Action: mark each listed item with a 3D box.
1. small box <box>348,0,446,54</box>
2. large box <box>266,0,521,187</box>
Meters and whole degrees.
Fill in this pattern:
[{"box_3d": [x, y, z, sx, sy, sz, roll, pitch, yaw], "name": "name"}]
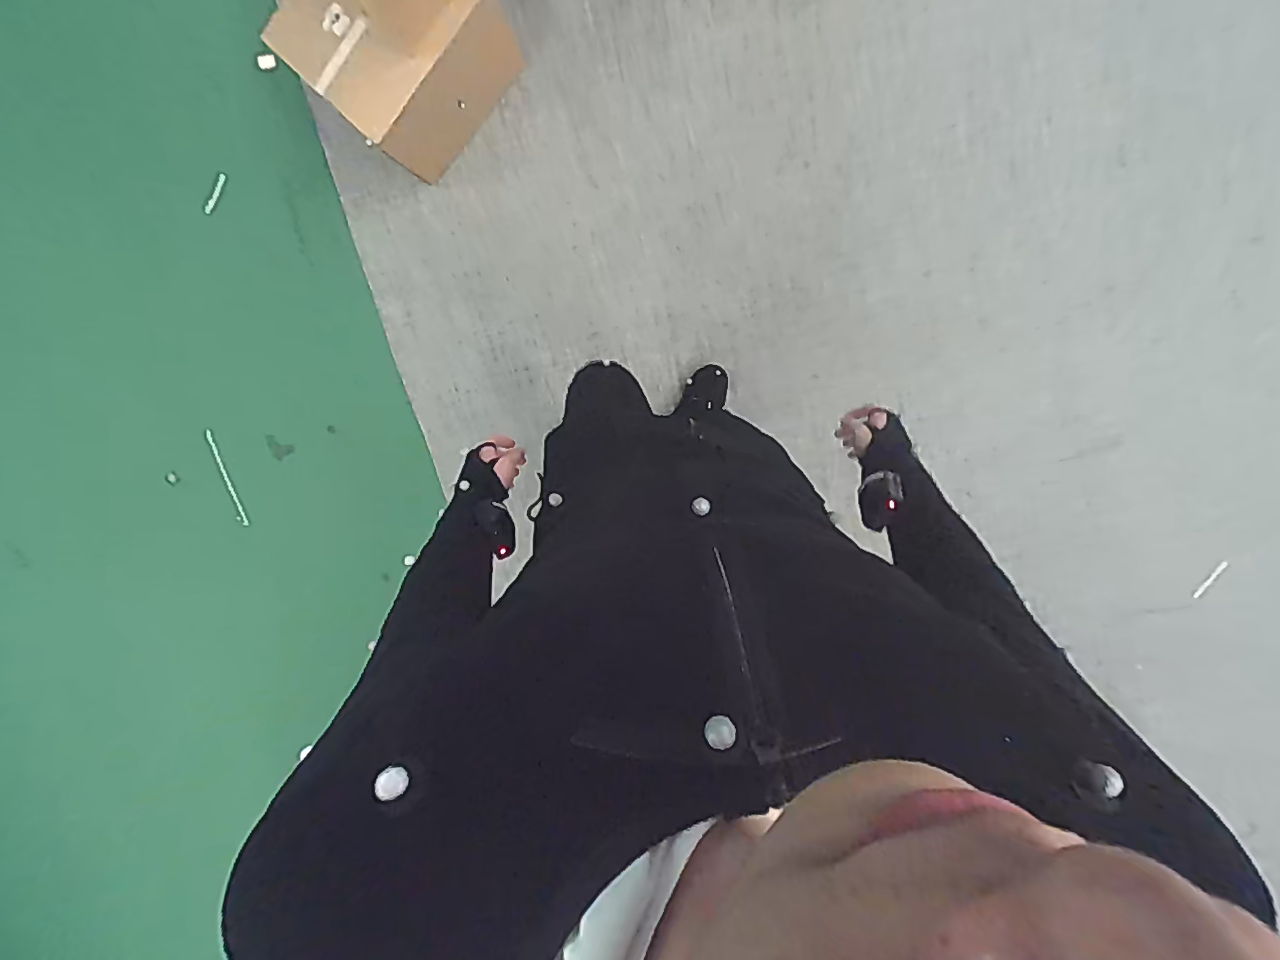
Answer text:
[{"box_3d": [-0.487, -0.975, 1.021, 0.168, 0.176, 0.179, 41, 101, -7], "name": "small box"}, {"box_3d": [-0.549, -1.000, 1.271, 0.320, 0.320, 0.408, 42, 102, -6], "name": "large box"}]
